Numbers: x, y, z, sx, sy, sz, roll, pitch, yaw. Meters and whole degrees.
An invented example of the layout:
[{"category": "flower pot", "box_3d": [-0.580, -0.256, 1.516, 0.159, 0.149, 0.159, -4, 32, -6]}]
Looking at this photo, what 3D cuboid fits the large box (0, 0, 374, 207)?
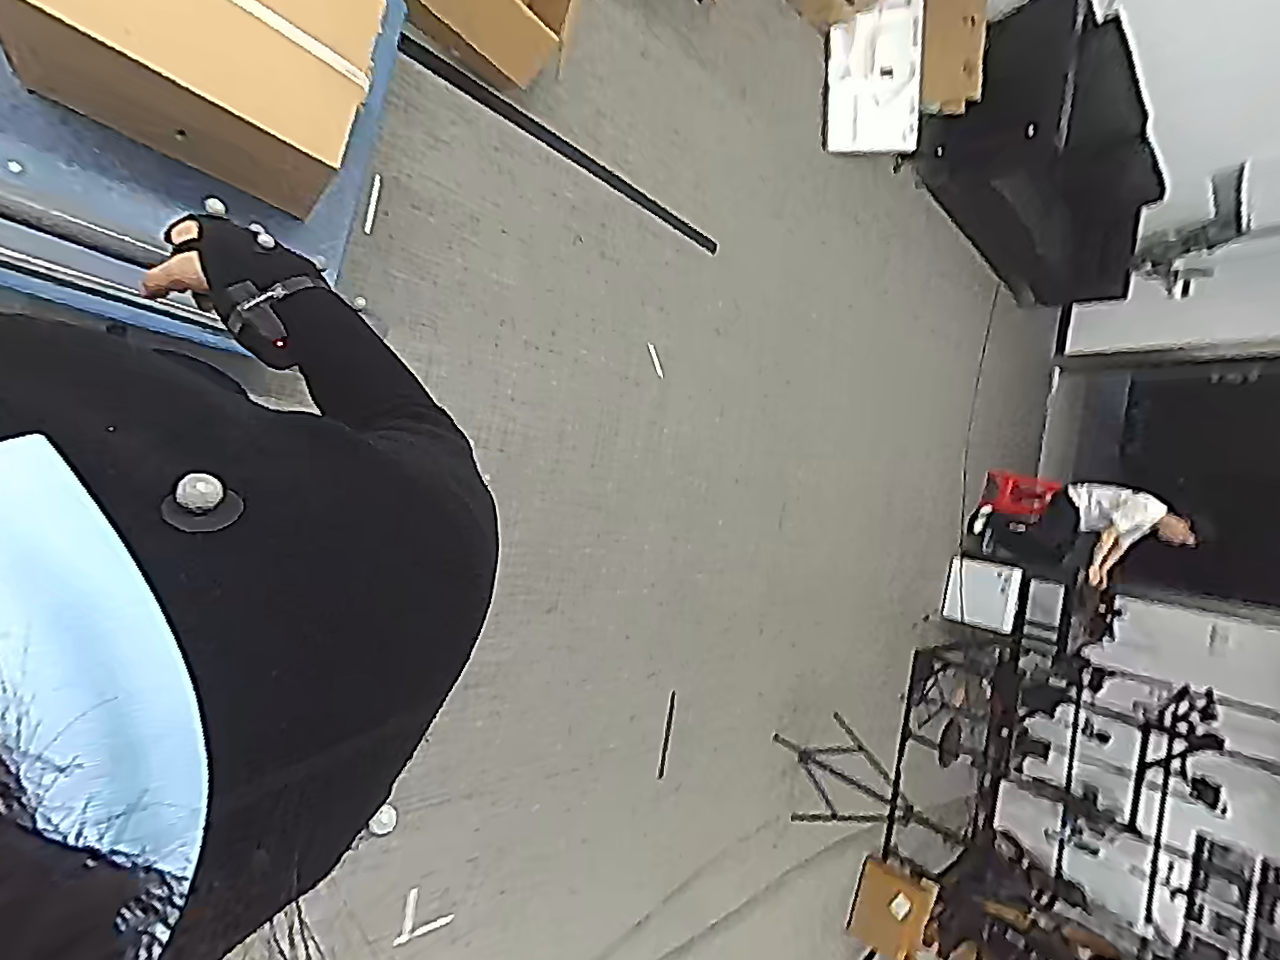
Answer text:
[{"category": "large box", "box_3d": [-0.717, -0.729, 0.888, 0.408, 0.320, 0.320, 16, 84, -41]}]
